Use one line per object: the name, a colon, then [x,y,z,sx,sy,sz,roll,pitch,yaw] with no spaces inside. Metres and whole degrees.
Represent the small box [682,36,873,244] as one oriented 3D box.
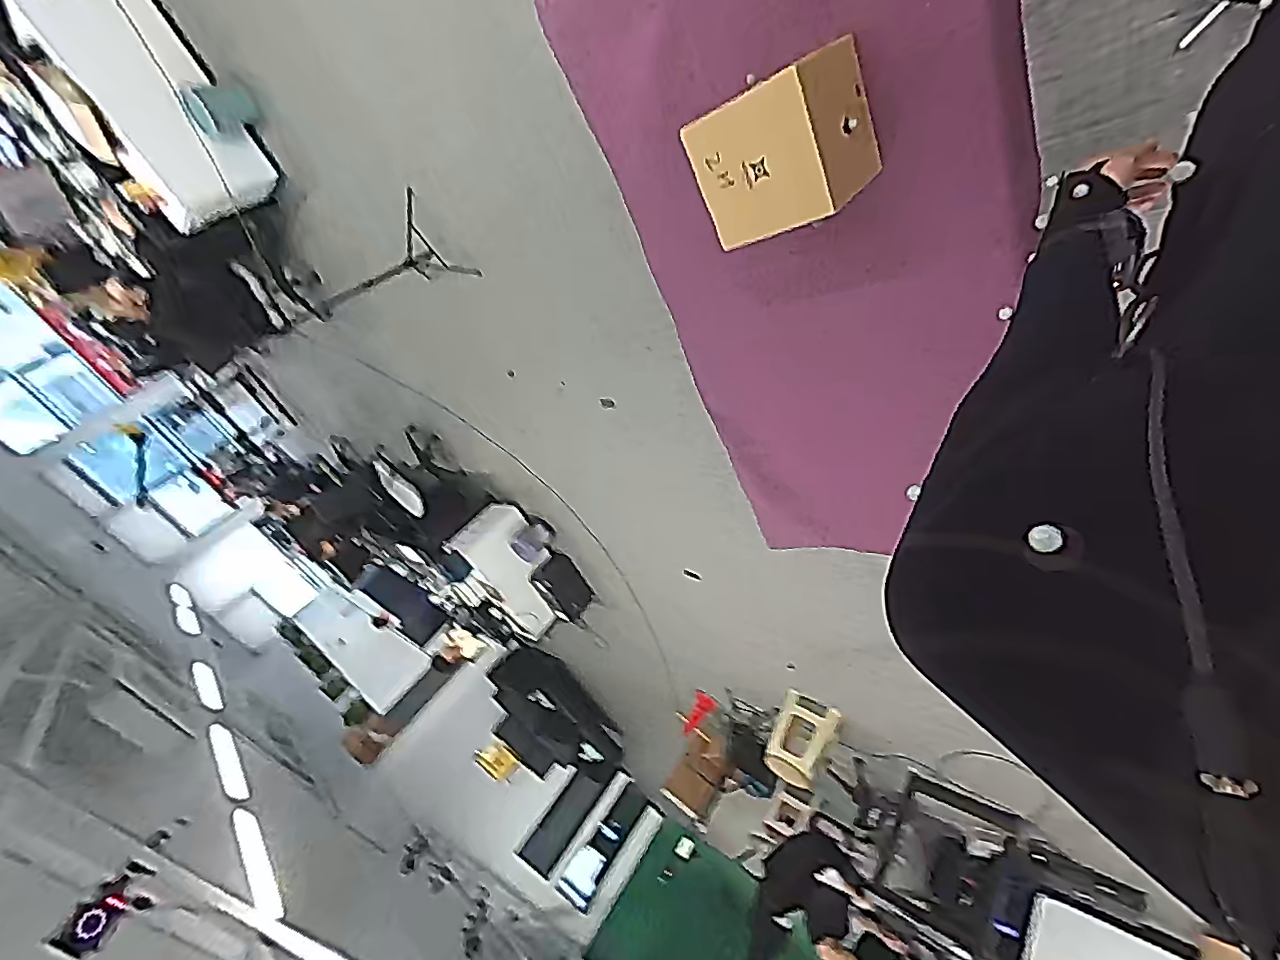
small box: [0.194,-0.452,0.730,0.179,0.176,0.168,4,132,47]
